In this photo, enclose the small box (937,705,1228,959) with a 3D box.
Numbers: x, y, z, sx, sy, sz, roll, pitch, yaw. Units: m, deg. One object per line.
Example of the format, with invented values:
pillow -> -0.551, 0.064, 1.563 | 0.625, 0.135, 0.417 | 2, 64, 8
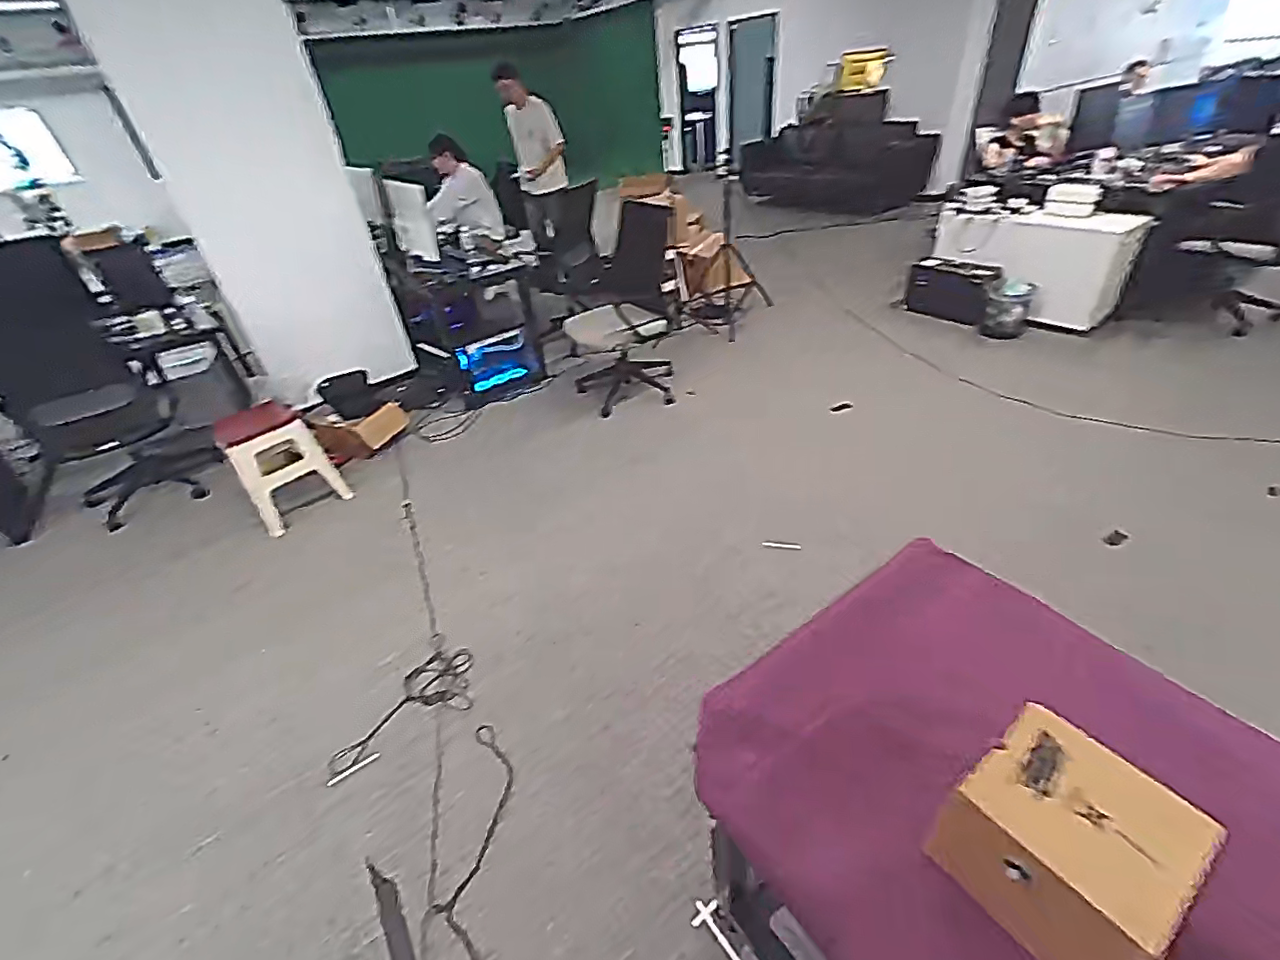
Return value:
small box -> 0.466, 0.400, 0.598 | 0.168, 0.176, 0.179 | -27, 42, -24
